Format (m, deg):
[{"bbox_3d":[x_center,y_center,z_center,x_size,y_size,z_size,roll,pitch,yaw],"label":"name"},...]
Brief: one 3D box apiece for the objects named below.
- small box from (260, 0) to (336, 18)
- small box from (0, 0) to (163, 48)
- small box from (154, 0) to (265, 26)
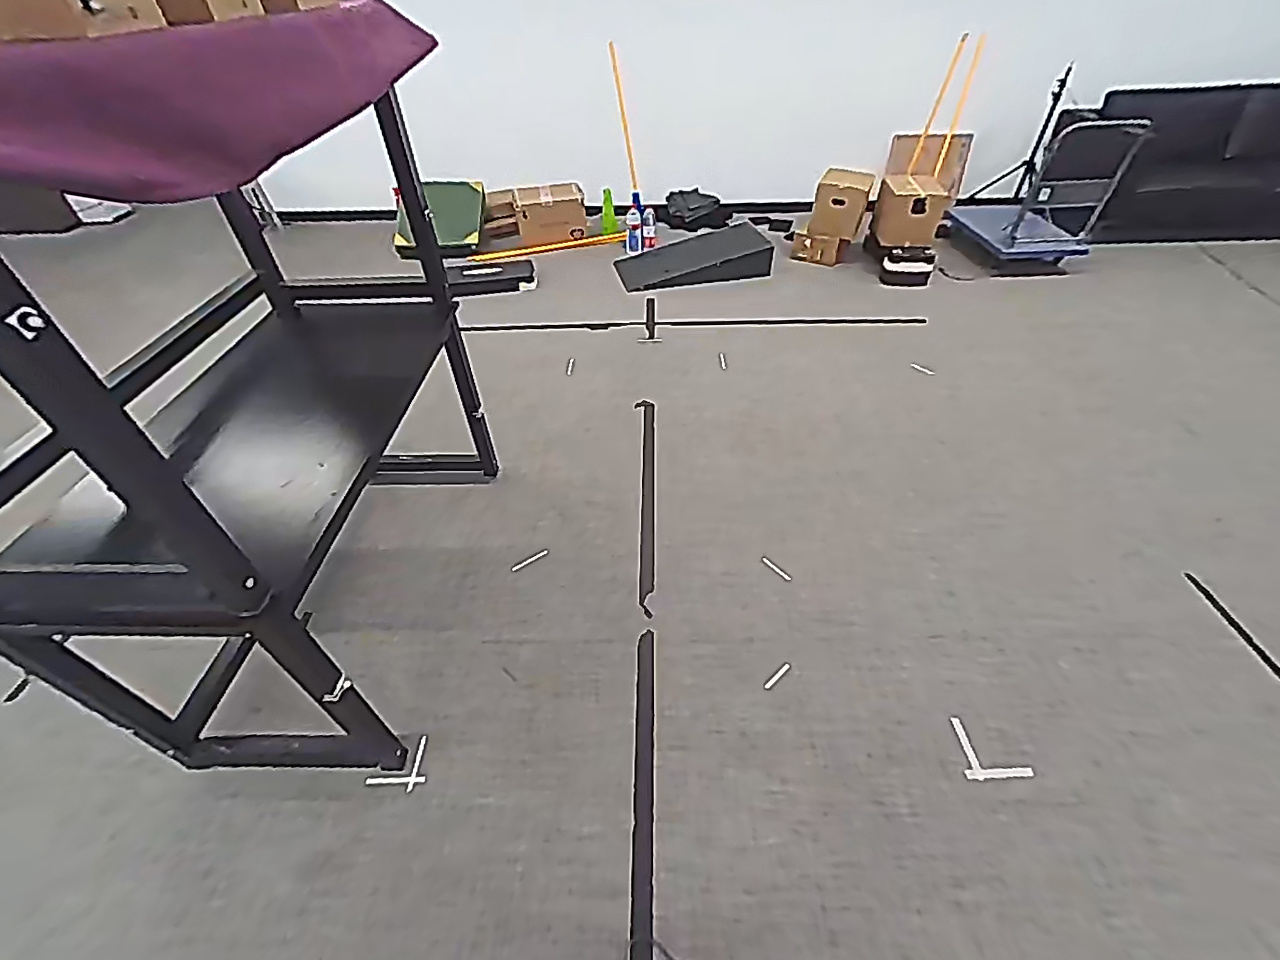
[{"bbox_3d":[-0.734,-1.025,1.062,0.168,0.176,0.179,1,44,4],"label":"small box"},{"bbox_3d":[-0.764,-0.654,0.669,0.179,0.176,0.168,-2,43,1],"label":"small box"},{"bbox_3d":[-0.755,-0.833,0.858,0.179,0.176,0.168,-1,44,1],"label":"small box"}]
